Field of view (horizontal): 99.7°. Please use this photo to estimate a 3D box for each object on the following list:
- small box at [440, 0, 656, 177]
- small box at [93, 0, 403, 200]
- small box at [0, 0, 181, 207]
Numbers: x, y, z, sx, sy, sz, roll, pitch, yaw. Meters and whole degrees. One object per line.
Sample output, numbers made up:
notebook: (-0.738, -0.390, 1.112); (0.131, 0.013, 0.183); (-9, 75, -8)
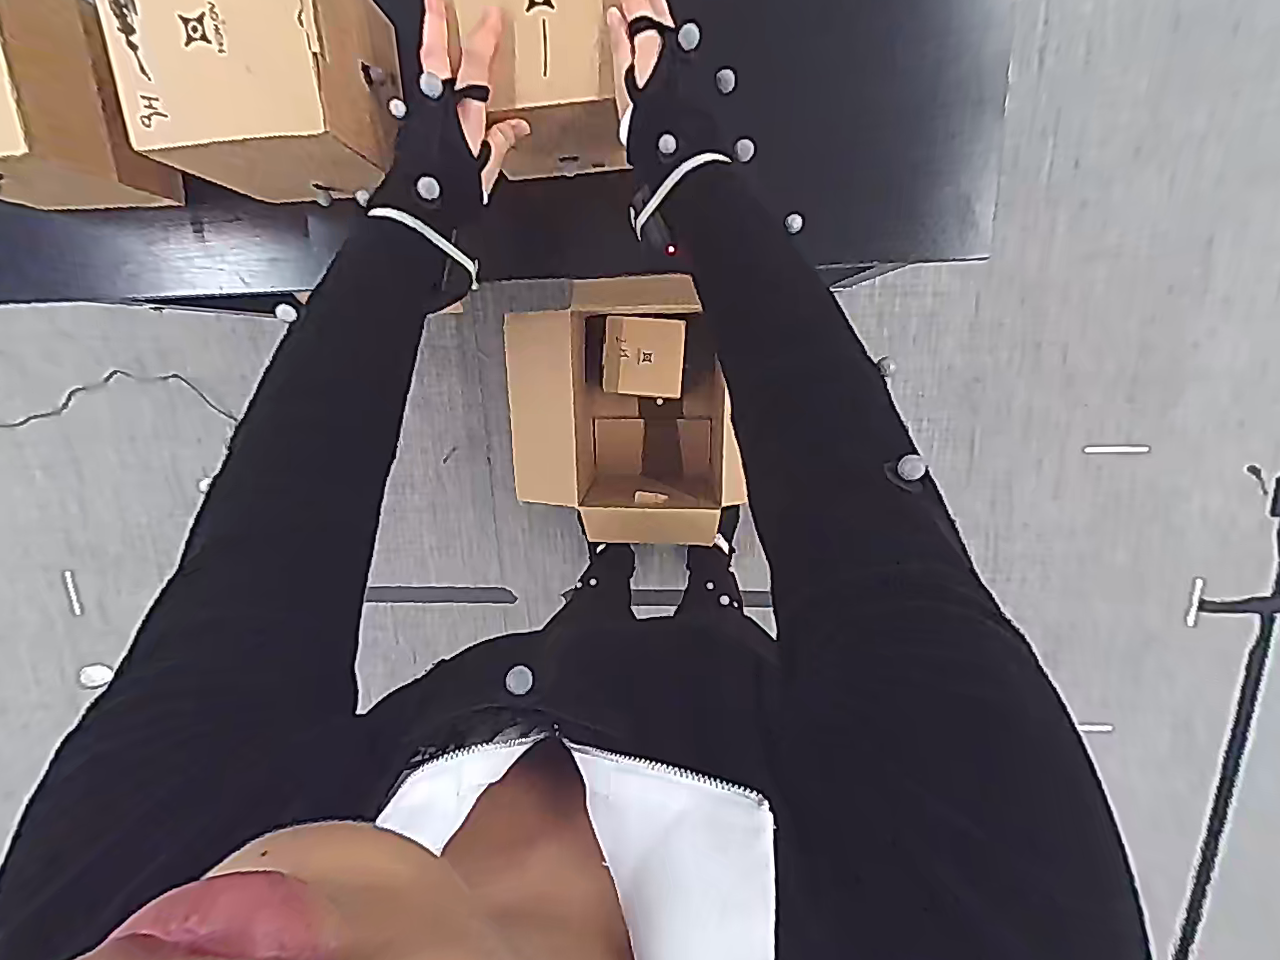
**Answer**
small box: (-0.073, -0.403, 0.493); (0.168, 0.176, 0.179); (-4, 103, 3)
small box: (-0.344, -0.378, 0.509); (0.179, 0.176, 0.168); (-3, 103, 2)
small box: (-0.607, -0.372, 0.521); (0.179, 0.176, 0.168); (0, 104, 1)
